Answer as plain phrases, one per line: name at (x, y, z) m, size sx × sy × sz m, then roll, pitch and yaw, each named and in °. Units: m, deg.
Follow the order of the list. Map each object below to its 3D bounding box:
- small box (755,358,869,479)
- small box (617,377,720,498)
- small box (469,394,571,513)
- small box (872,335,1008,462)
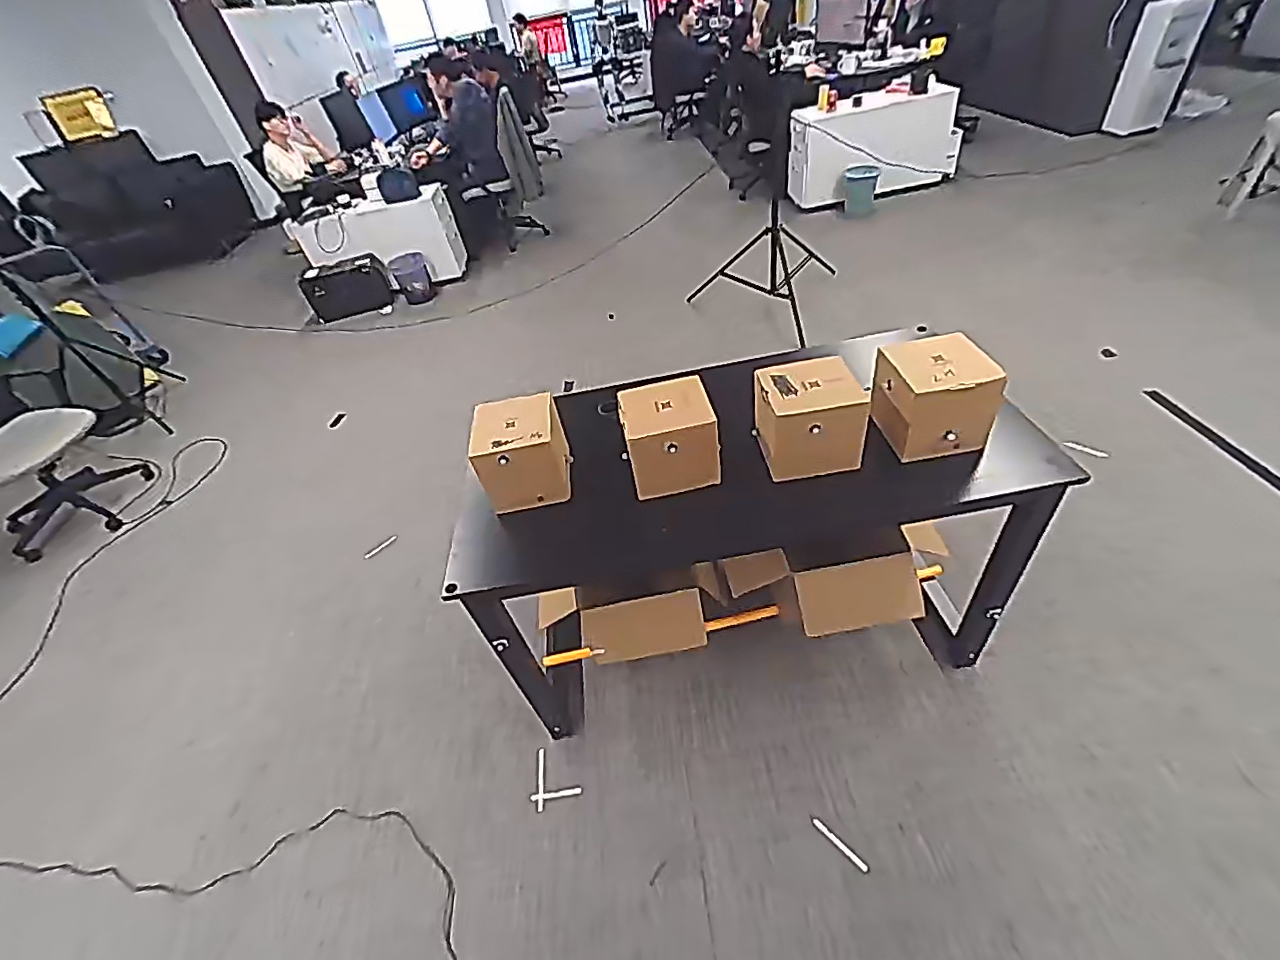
small box at (0.336, -0.119, 1.085) m, size 0.179 × 0.176 × 0.168 m, roll -9°, pitch 42°, yaw 4°
small box at (0.060, -0.084, 1.116) m, size 0.179 × 0.176 × 0.168 m, roll -12°, pitch 44°, yaw -1°
small box at (-0.247, -0.055, 1.153) m, size 0.168 × 0.176 × 0.179 m, roll -11°, pitch 42°, yaw 1°
small box at (0.578, -0.160, 1.072) m, size 0.168 × 0.176 × 0.179 m, roll -10°, pitch 42°, yaw 4°
